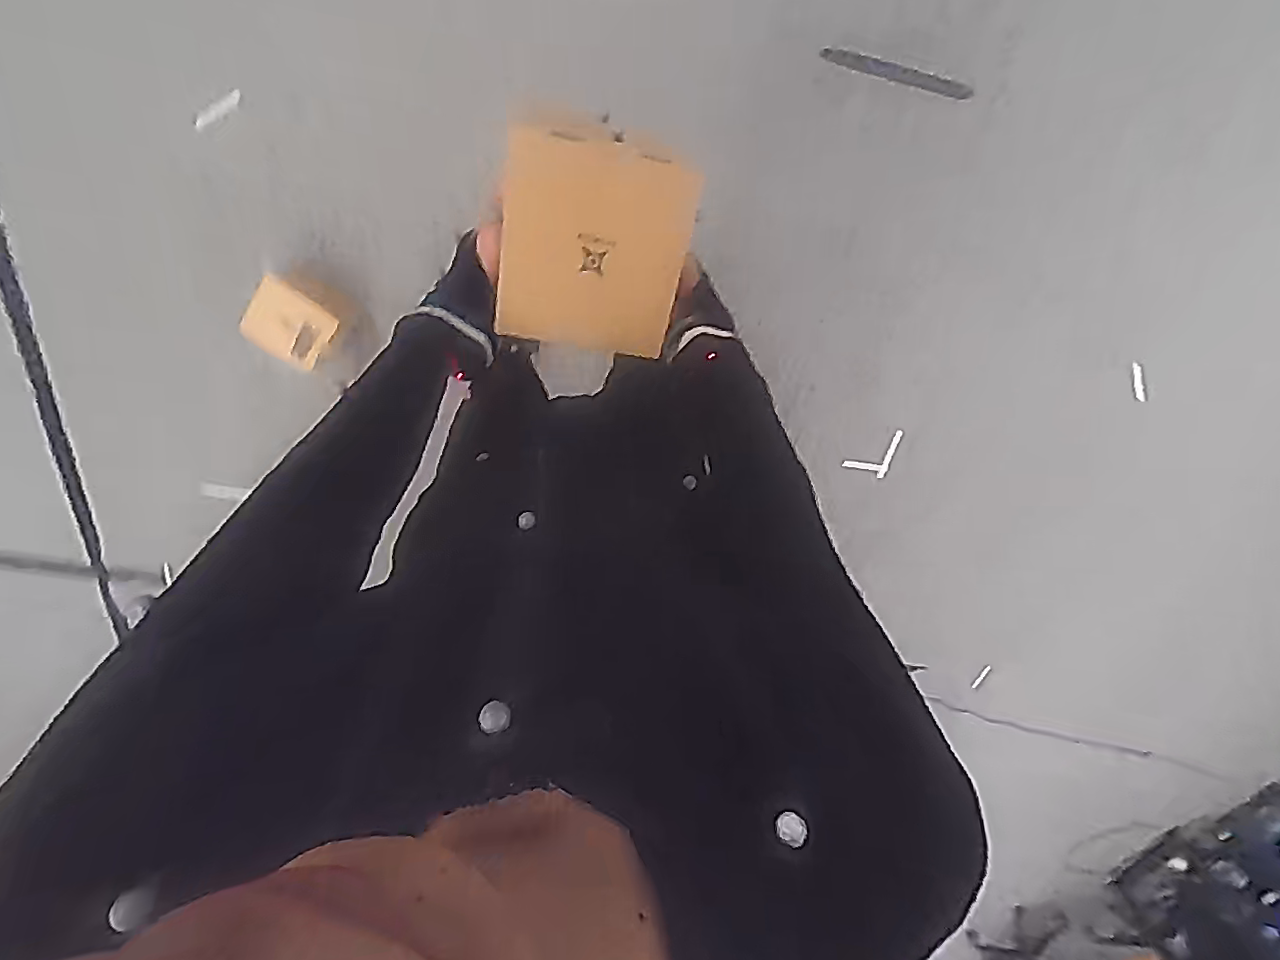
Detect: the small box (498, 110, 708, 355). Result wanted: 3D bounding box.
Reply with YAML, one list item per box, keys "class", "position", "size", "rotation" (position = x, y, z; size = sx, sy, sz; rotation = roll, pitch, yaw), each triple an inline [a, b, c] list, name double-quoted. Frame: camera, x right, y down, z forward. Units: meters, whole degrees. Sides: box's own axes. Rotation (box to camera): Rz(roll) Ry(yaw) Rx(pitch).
- class: "small box"
  position: [-0.047, -0.251, 0.547]
  size: [0.168, 0.176, 0.179]
  rotation: [6, 125, -13]
